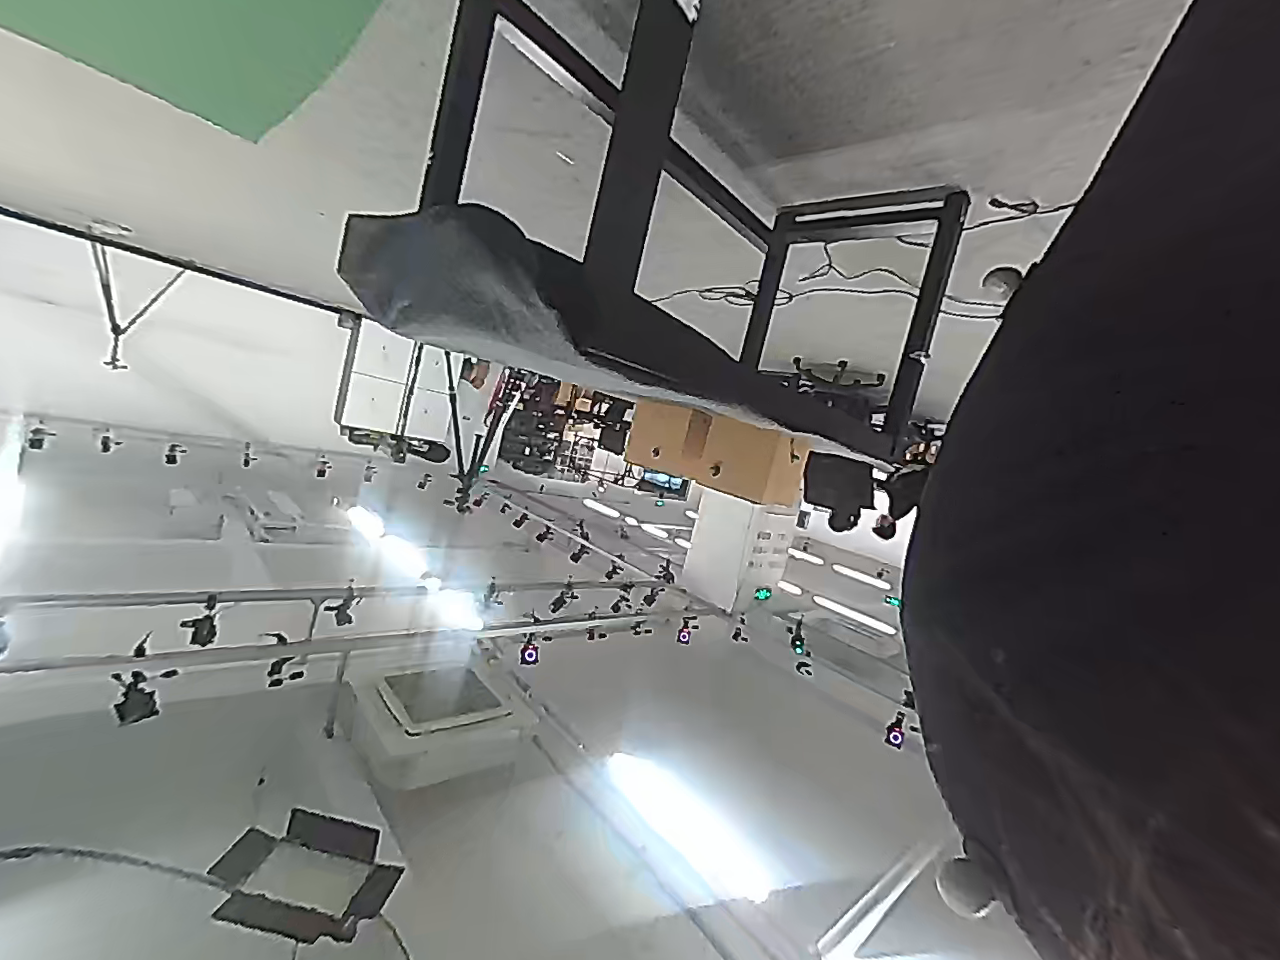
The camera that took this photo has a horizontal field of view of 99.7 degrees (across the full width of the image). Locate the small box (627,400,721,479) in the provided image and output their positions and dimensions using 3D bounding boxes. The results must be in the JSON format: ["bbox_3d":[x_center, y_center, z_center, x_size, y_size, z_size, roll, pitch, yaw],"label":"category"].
[{"bbox_3d":[0.096,-0.102,1.375,0.179,0.176,0.168,18,-174,39],"label":"small box"}]

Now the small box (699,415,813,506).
[{"bbox_3d":[0.265,-0.048,1.232,0.179,0.176,0.168,19,-173,39],"label":"small box"}]
